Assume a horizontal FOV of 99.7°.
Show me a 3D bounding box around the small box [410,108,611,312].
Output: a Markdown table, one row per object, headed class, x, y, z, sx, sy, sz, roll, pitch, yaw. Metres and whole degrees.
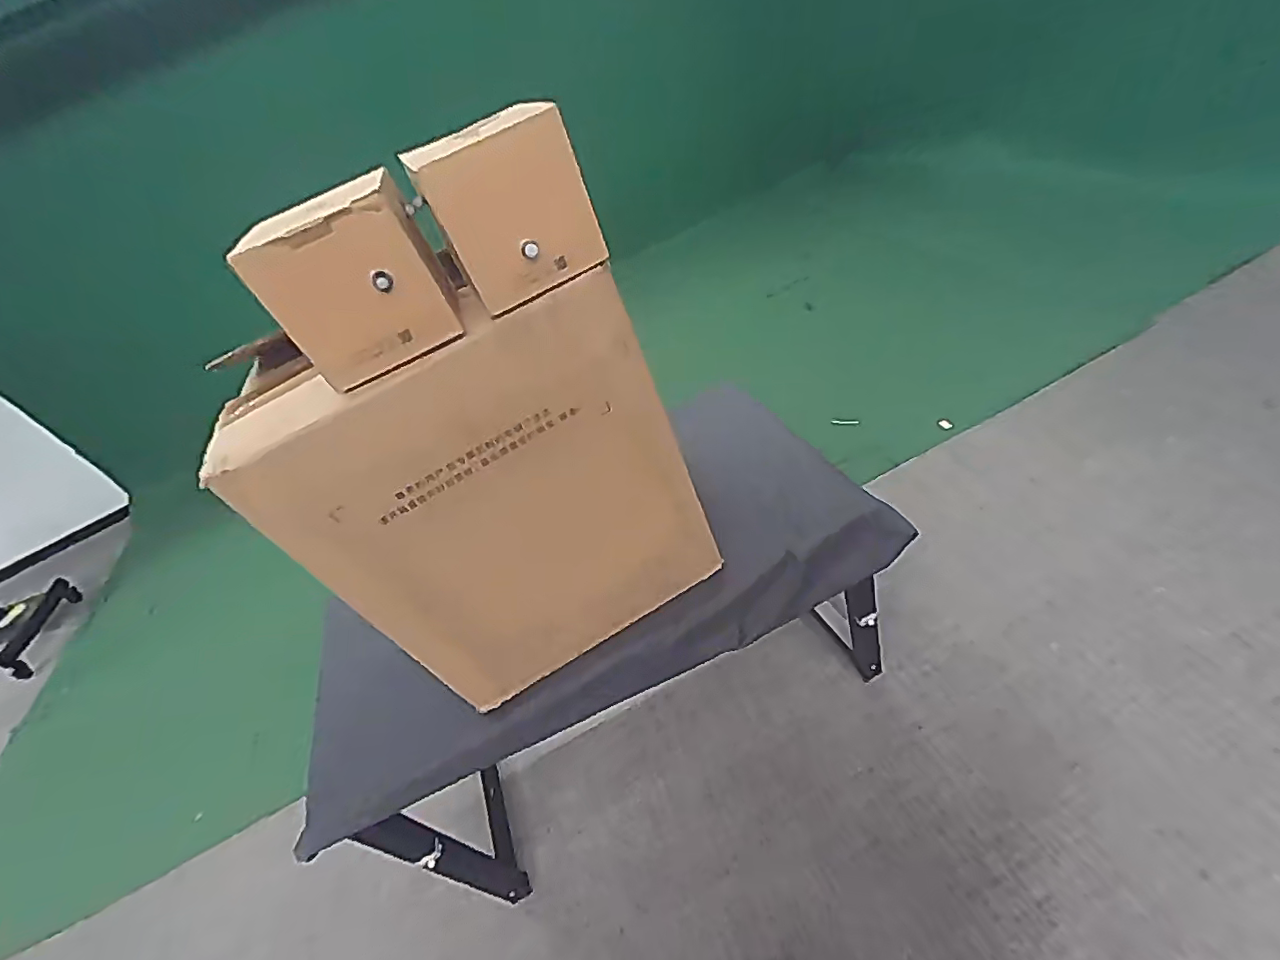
| class | x | y | z | sx | sy | sz | roll | pitch | yaw |
| --- | --- | --- | --- | --- | --- | --- | --- | --- | --- |
| small box | -0.158 | -0.332 | 0.668 | 0.168 | 0.176 | 0.179 | -30 | 42 | -7 |
